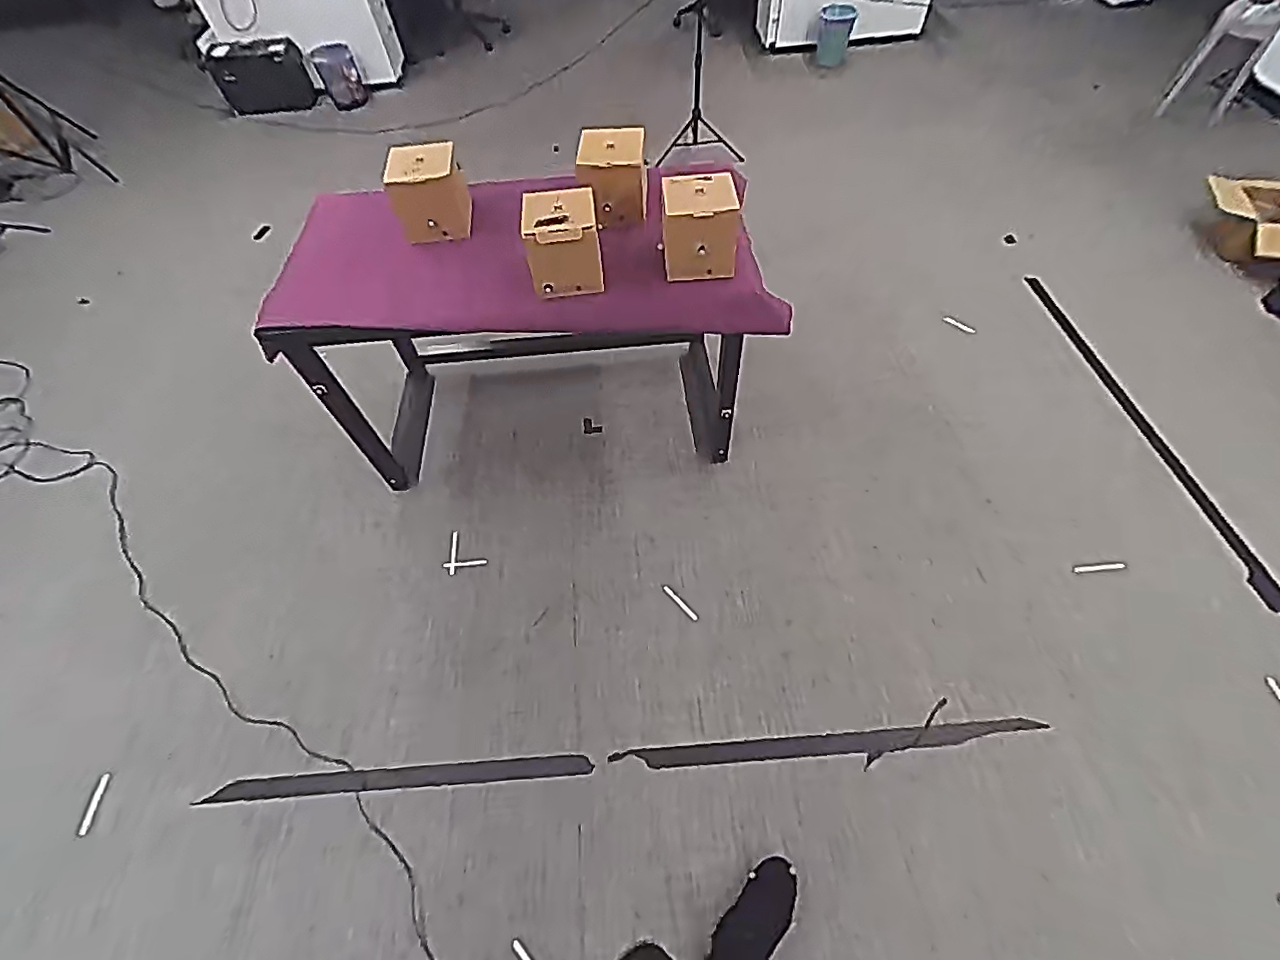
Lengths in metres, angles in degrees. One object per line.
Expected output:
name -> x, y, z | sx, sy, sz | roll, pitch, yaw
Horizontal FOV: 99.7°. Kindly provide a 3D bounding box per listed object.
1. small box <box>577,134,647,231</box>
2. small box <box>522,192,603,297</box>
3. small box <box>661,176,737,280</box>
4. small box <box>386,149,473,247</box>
small box -> -0.069, -0.798, 1.454 | 0.168, 0.176, 0.179 | 0, 58, 4
small box -> -0.181, -0.558, 1.298 | 0.168, 0.176, 0.179 | -6, 55, -1
small box -> 0.139, -0.600, 1.304 | 0.168, 0.176, 0.179 | -3, 55, 2
small box -> -0.555, -0.757, 1.454 | 0.168, 0.176, 0.179 | -8, 57, -2
